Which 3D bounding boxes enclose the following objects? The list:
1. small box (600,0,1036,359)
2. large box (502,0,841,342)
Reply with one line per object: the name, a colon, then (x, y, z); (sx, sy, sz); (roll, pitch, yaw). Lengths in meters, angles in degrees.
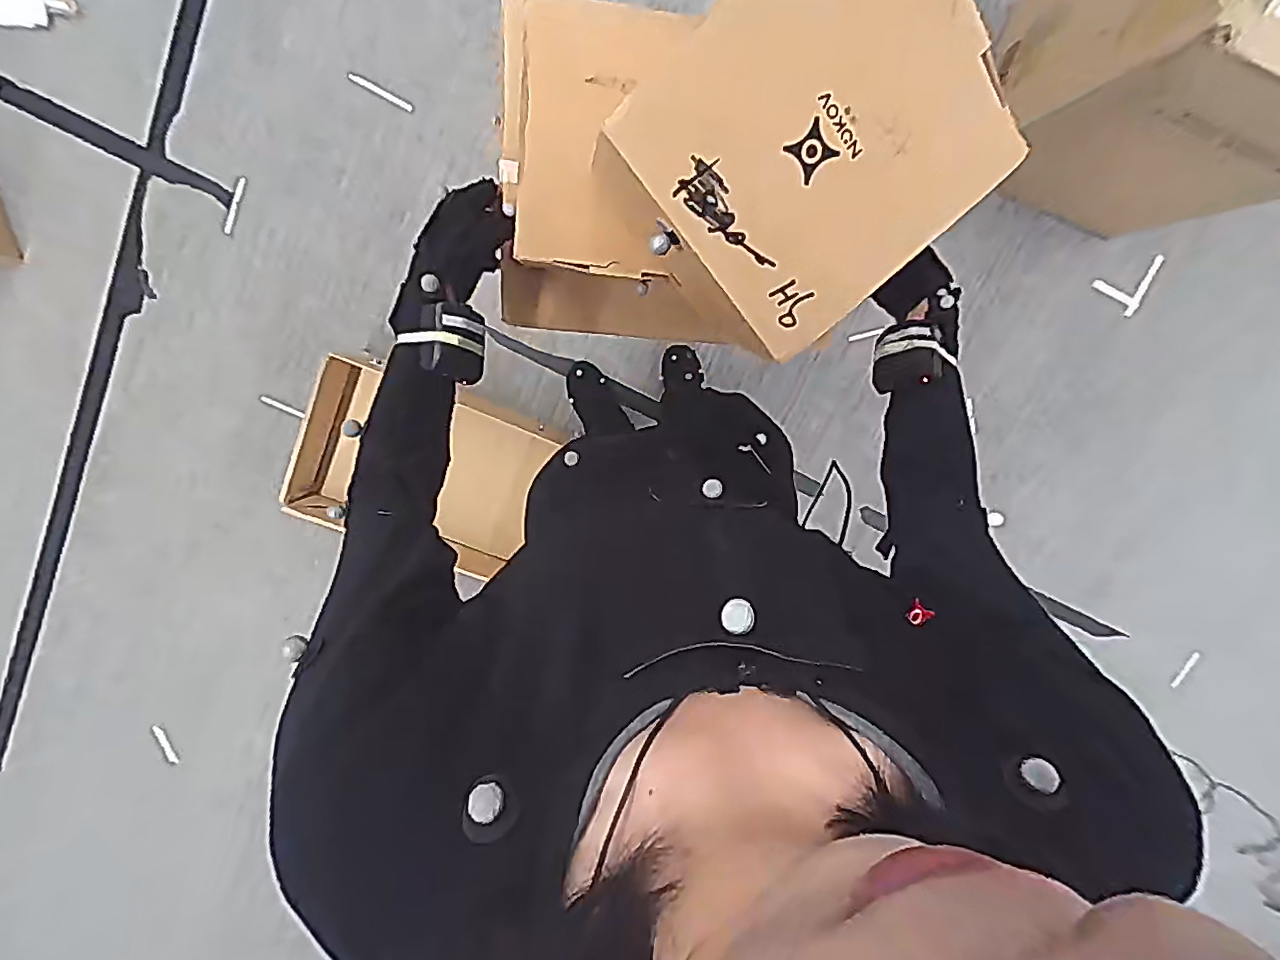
small box: (0.088, -0.208, 0.348); (0.179, 0.176, 0.168); (-40, 111, 9)
large box: (0.034, -0.366, 0.721); (0.408, 0.320, 0.320); (2, 111, -10)
